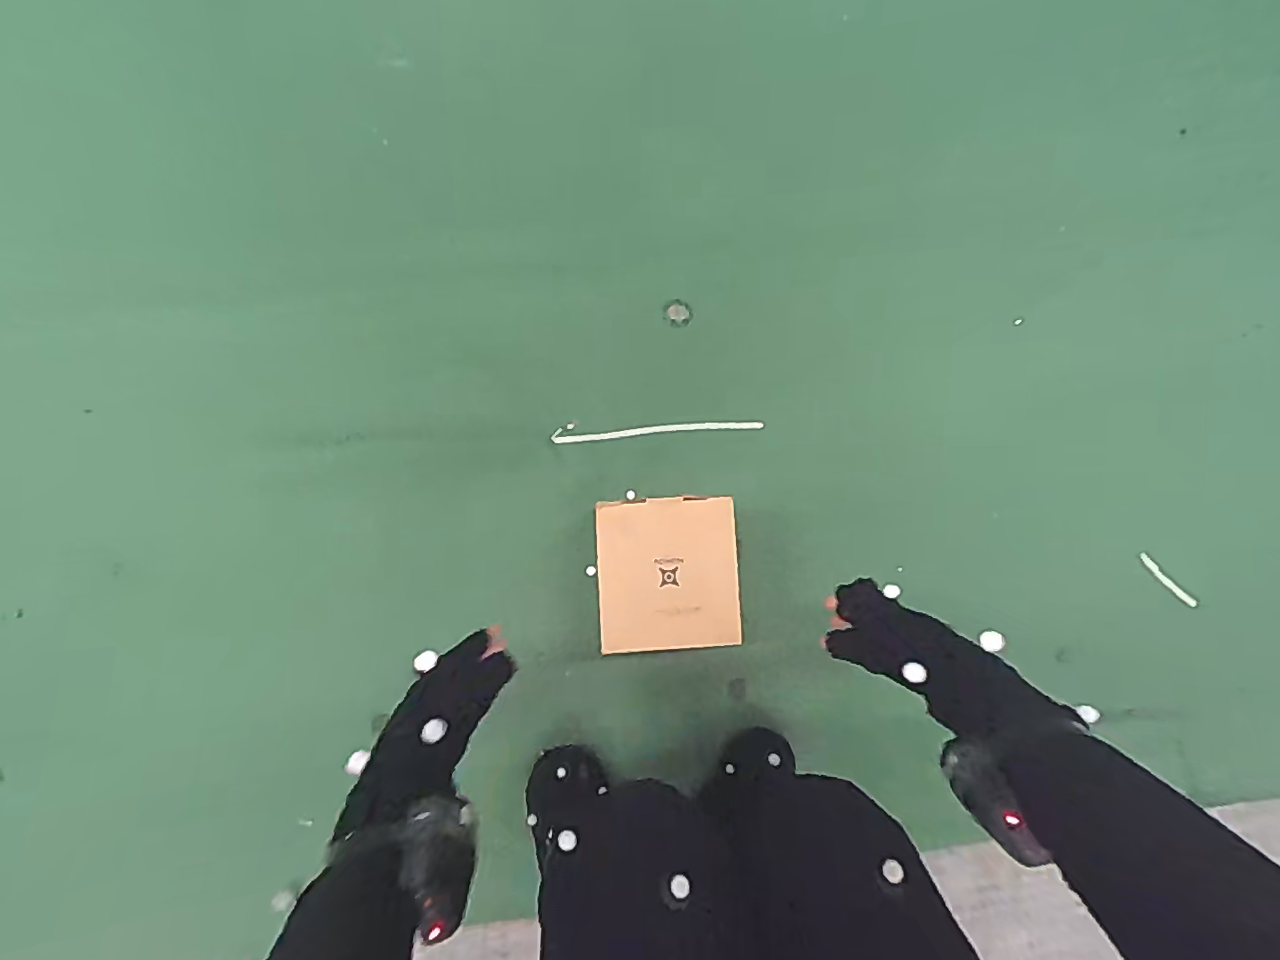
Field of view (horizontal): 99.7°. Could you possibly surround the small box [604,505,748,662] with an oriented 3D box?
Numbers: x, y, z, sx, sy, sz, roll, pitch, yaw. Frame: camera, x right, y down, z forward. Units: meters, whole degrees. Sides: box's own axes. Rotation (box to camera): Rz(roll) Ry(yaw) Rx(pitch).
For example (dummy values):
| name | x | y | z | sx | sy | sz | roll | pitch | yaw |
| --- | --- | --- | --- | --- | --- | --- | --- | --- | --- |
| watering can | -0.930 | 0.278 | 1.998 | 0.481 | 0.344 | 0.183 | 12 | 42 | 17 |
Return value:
| name | x | y | z | sx | sy | sz | roll | pitch | yaw |
| --- | --- | --- | --- | --- | --- | --- | --- | --- | --- |
| small box | 0.037 | 0.129 | 0.717 | 0.168 | 0.176 | 0.179 | -3 | 86 | -3 |
